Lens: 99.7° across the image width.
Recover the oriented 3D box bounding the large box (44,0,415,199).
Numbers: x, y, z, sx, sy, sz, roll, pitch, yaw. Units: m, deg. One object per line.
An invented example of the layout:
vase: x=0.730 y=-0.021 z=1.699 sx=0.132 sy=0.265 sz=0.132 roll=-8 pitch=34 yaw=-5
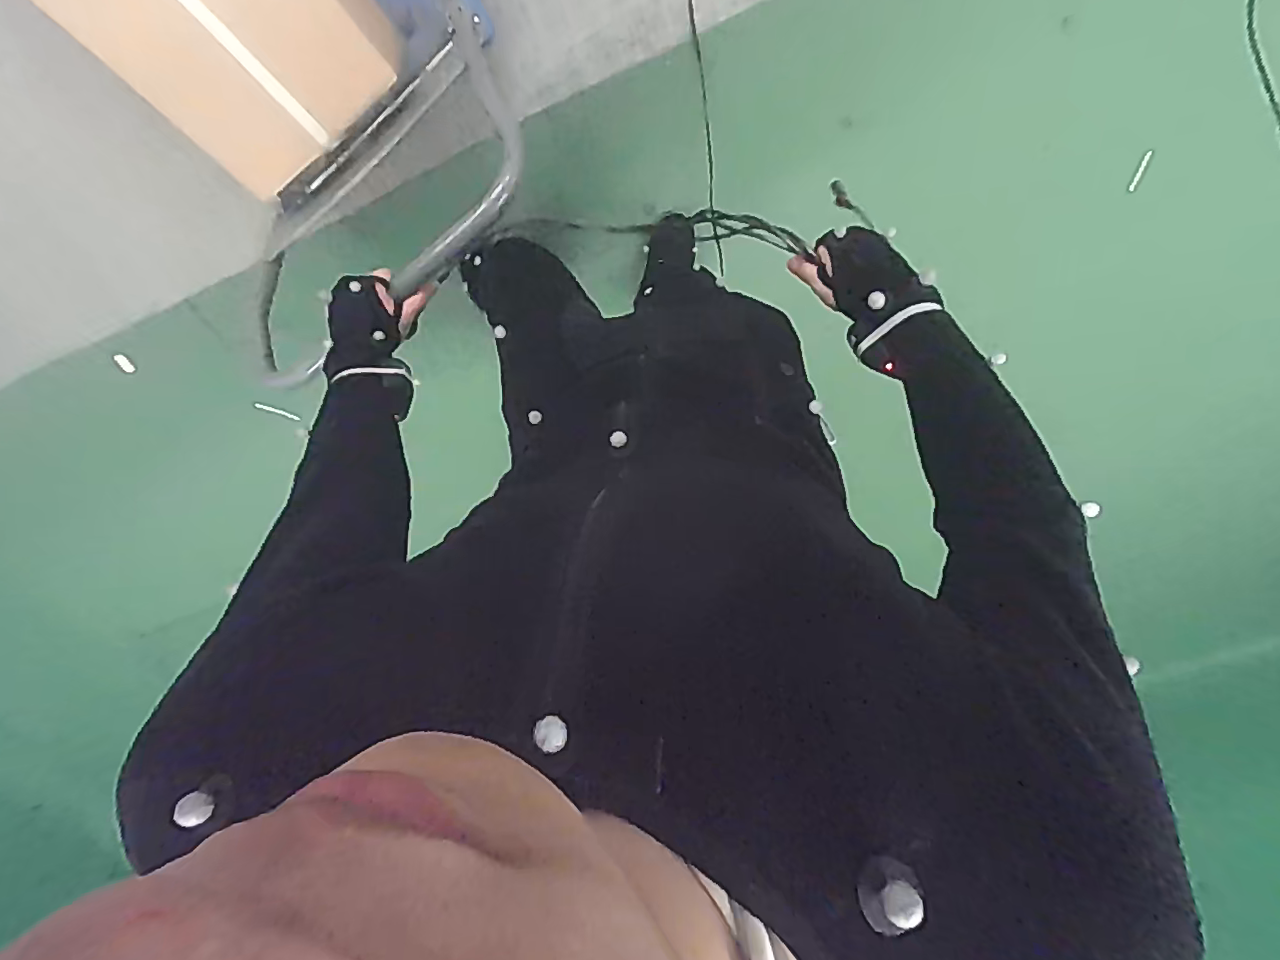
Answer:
large box: x=-0.623 y=-0.749 z=0.840 sx=0.320 sy=0.320 sz=0.408 roll=-32 pitch=136 yaw=14
